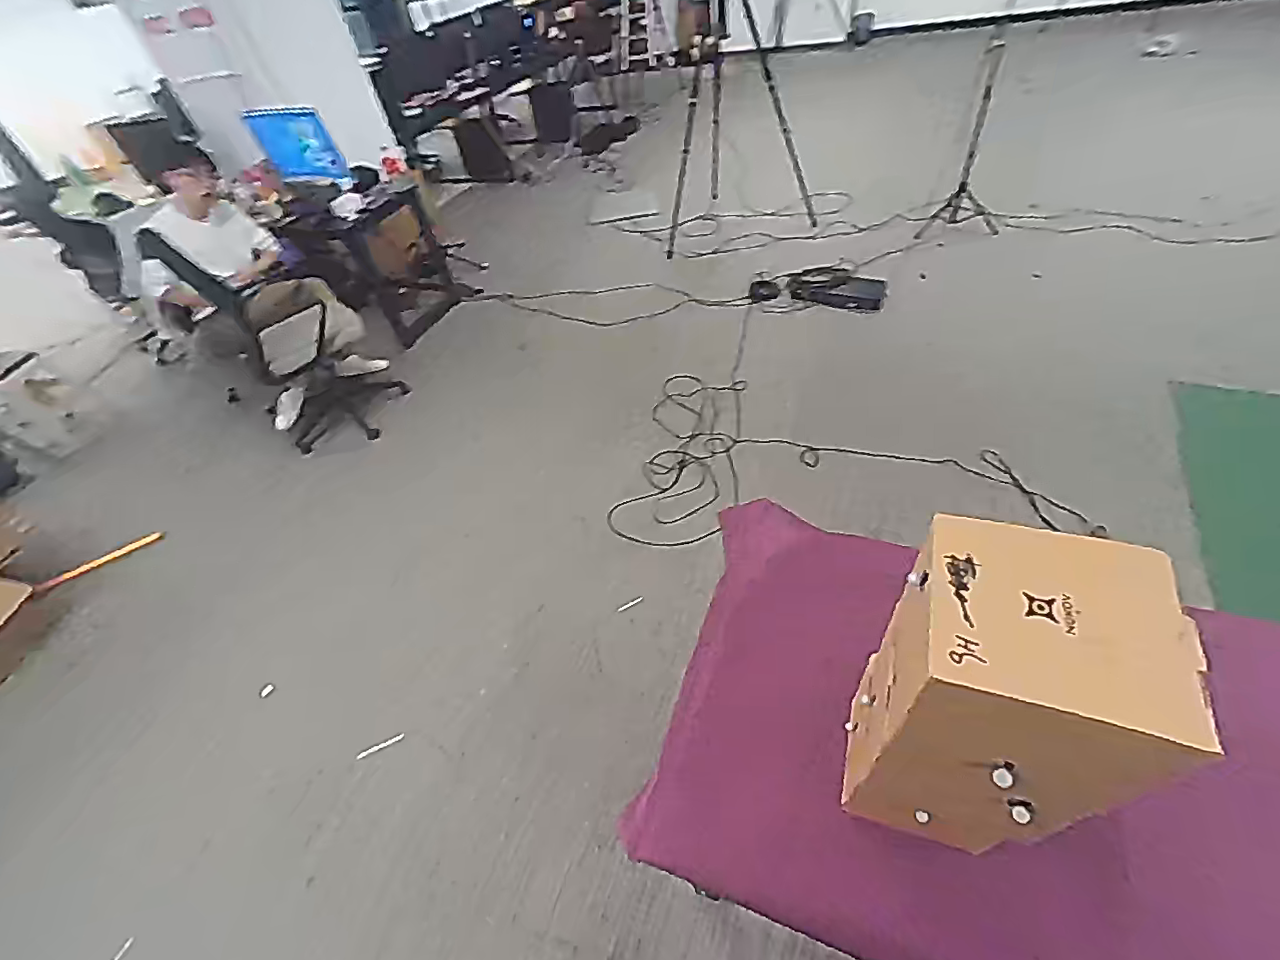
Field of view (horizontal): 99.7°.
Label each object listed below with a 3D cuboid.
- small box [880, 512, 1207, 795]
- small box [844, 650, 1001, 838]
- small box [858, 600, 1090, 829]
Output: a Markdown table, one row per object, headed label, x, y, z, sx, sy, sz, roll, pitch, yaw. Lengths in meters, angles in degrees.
| label | x | y | z | sx | sy | sz | roll | pitch | yaw |
| --- | --- | --- | --- | --- | --- | --- | --- | --- | --- |
| small box | 0.333 | 0.158 | 0.487 | 0.179 | 0.176 | 0.168 | 12 | 52 | 21 |
| small box | 0.388 | 0.363 | 0.738 | 0.179 | 0.176 | 0.168 | 10 | 51 | 21 |
| small box | 0.359 | 0.264 | 0.608 | 0.179 | 0.176 | 0.168 | 11 | 51 | 22 |
